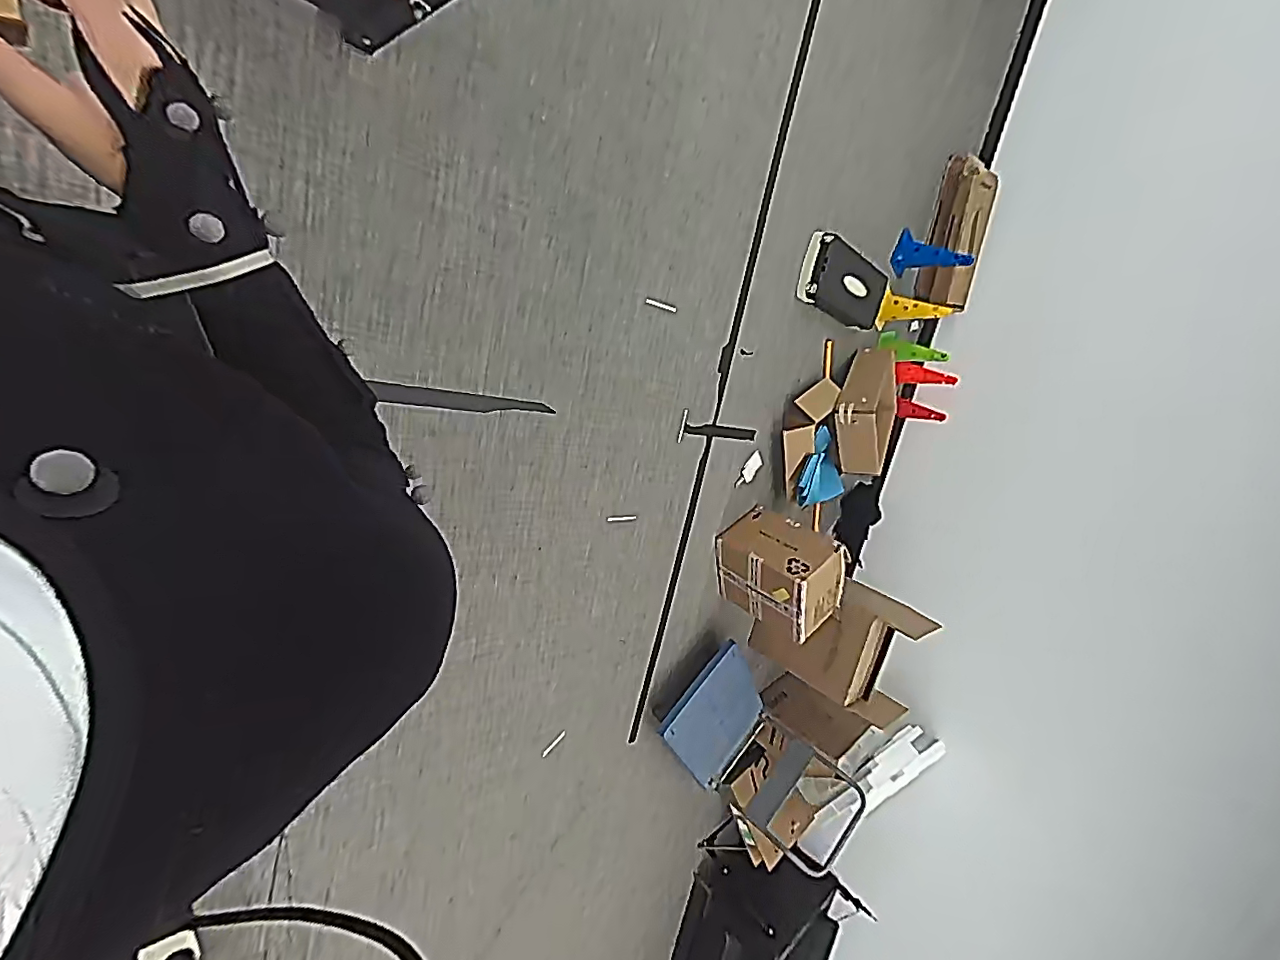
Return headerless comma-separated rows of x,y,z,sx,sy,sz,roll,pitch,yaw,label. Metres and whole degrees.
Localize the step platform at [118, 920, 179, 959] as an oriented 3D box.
-1.403,1.274,1.123,0.684,0.204,0.286,-2,110,-47,step platform
